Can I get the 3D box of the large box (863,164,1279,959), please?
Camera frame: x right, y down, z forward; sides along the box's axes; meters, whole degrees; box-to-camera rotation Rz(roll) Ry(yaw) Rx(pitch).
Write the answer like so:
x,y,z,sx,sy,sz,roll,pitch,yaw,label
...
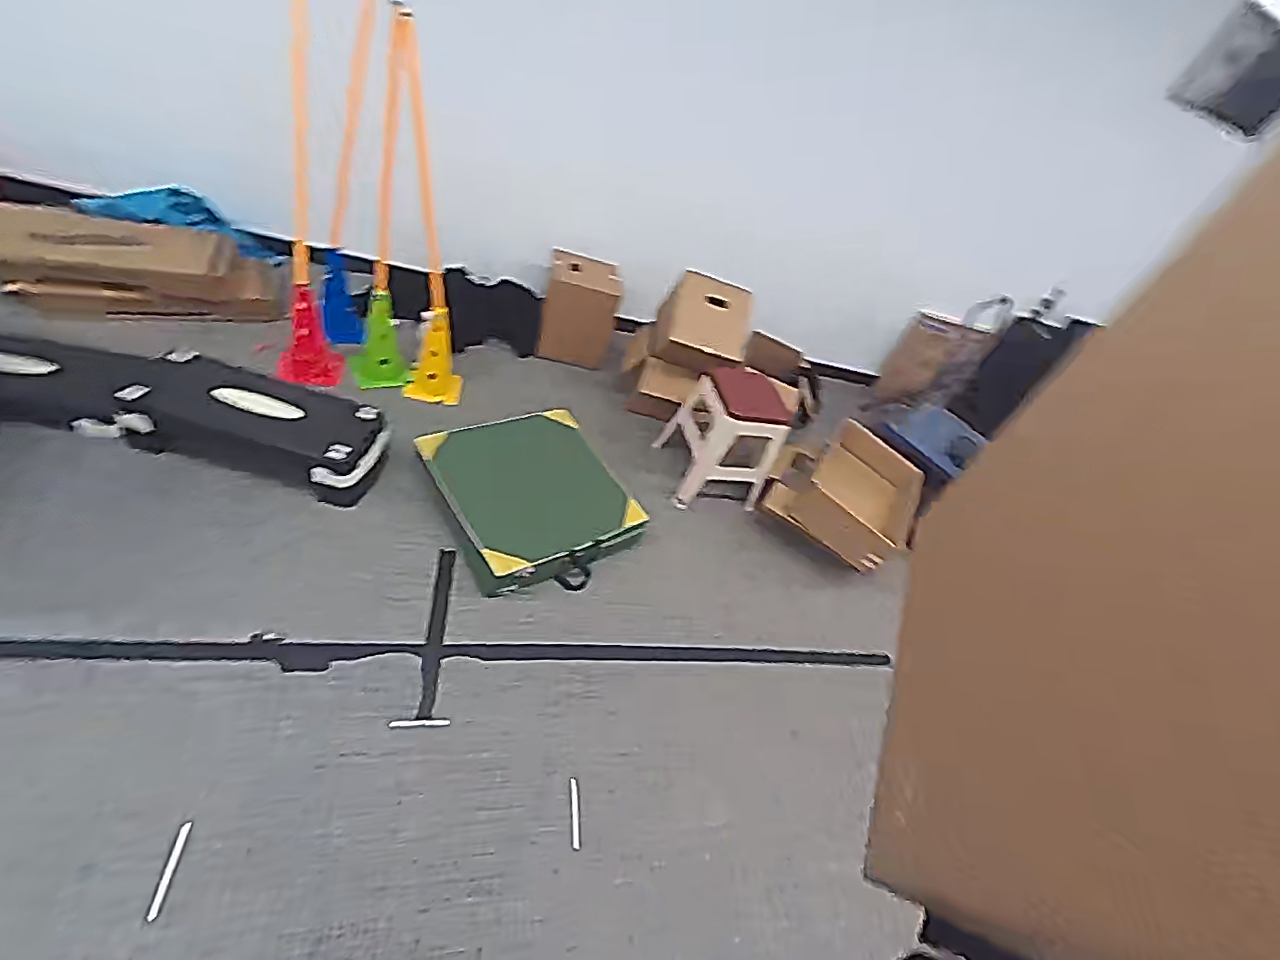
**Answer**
x,y,z,sx,sy,sz,roll,pitch,yaw,label
0.351,0.126,0.272,0.320,0.408,0.320,19,64,13,large box
